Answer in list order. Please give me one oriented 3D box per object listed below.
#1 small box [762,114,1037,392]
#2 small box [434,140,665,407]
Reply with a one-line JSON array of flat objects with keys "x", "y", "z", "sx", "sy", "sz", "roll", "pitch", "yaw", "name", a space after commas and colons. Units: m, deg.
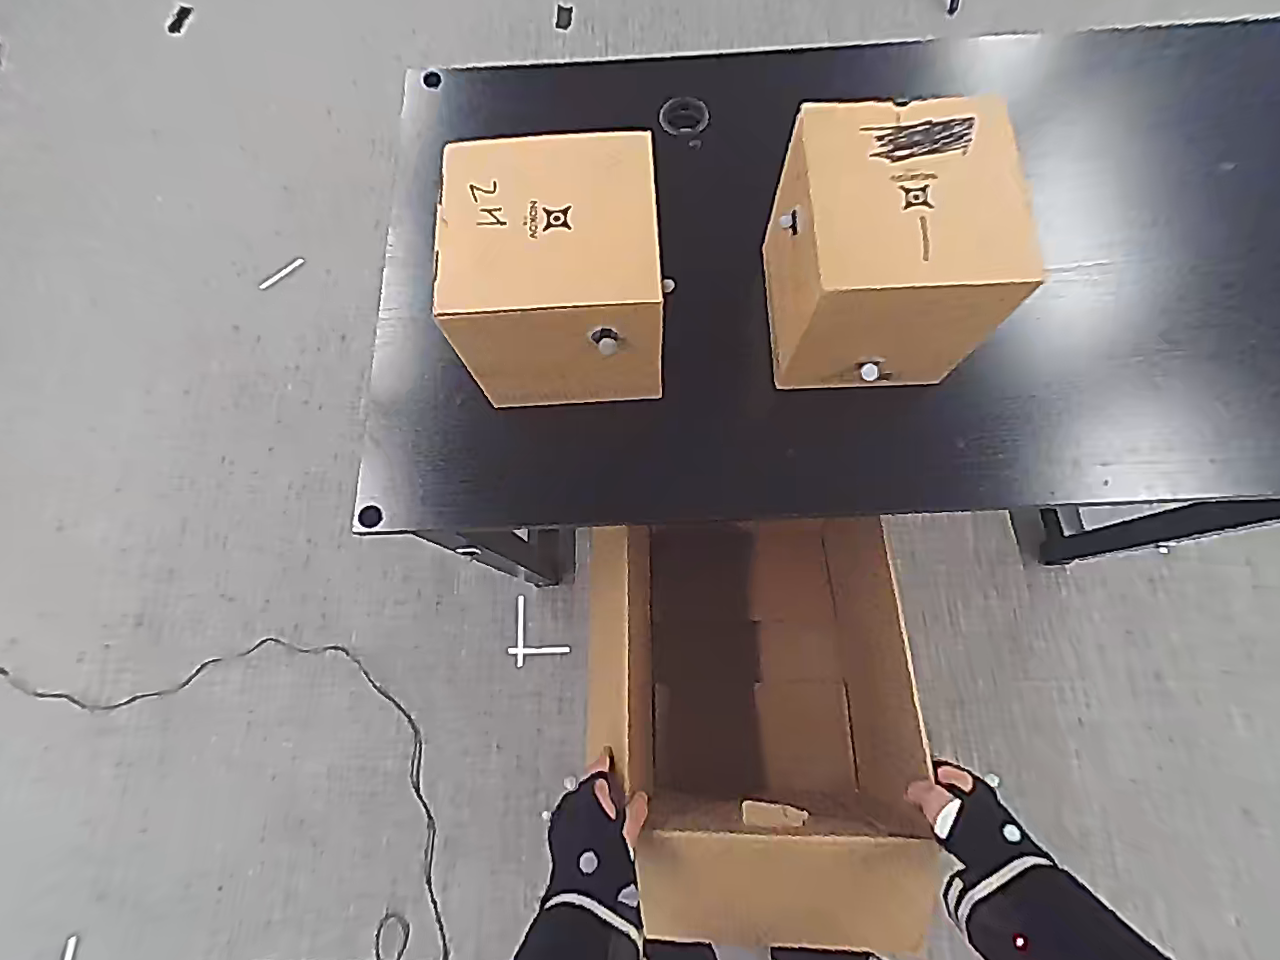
[{"x": 0.214, "y": -0.197, "z": 0.502, "sx": 0.168, "sy": 0.176, "sz": 0.179, "roll": -1, "pitch": 74, "yaw": 2, "name": "small box"}, {"x": -0.071, "y": -0.177, "z": 0.504, "sx": 0.179, "sy": 0.176, "sz": 0.168, "roll": -3, "pitch": 73, "yaw": 1, "name": "small box"}]
